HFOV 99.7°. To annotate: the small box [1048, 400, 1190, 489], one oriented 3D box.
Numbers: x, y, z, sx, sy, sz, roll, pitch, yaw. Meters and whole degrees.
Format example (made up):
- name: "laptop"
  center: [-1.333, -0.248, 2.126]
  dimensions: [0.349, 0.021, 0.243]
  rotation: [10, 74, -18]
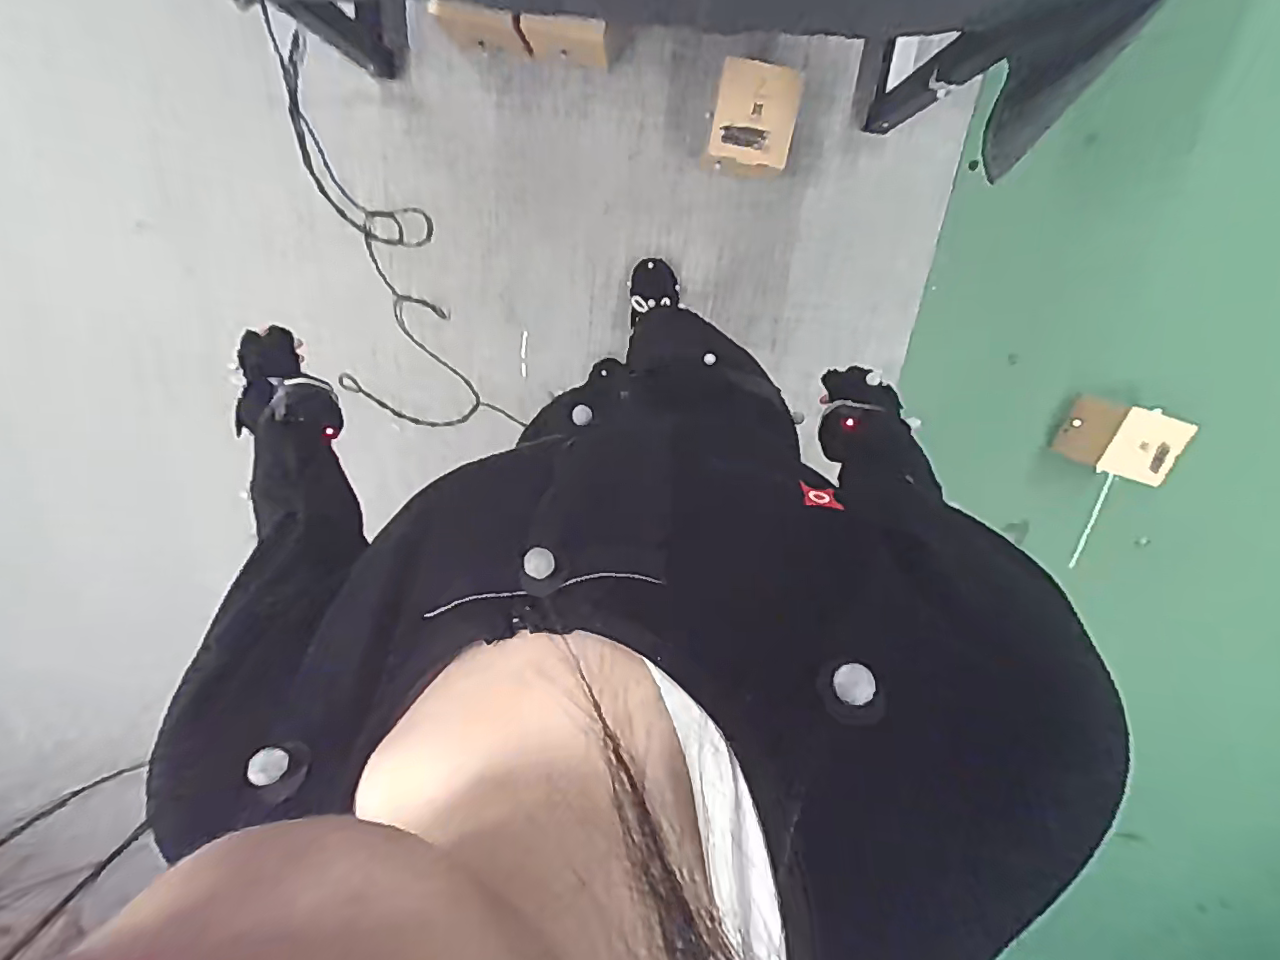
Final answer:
- name: "small box"
  center: [1.220, -0.098, 1.392]
  dimensions: [0.179, 0.176, 0.168]
  rotation: [16, 108, -4]
